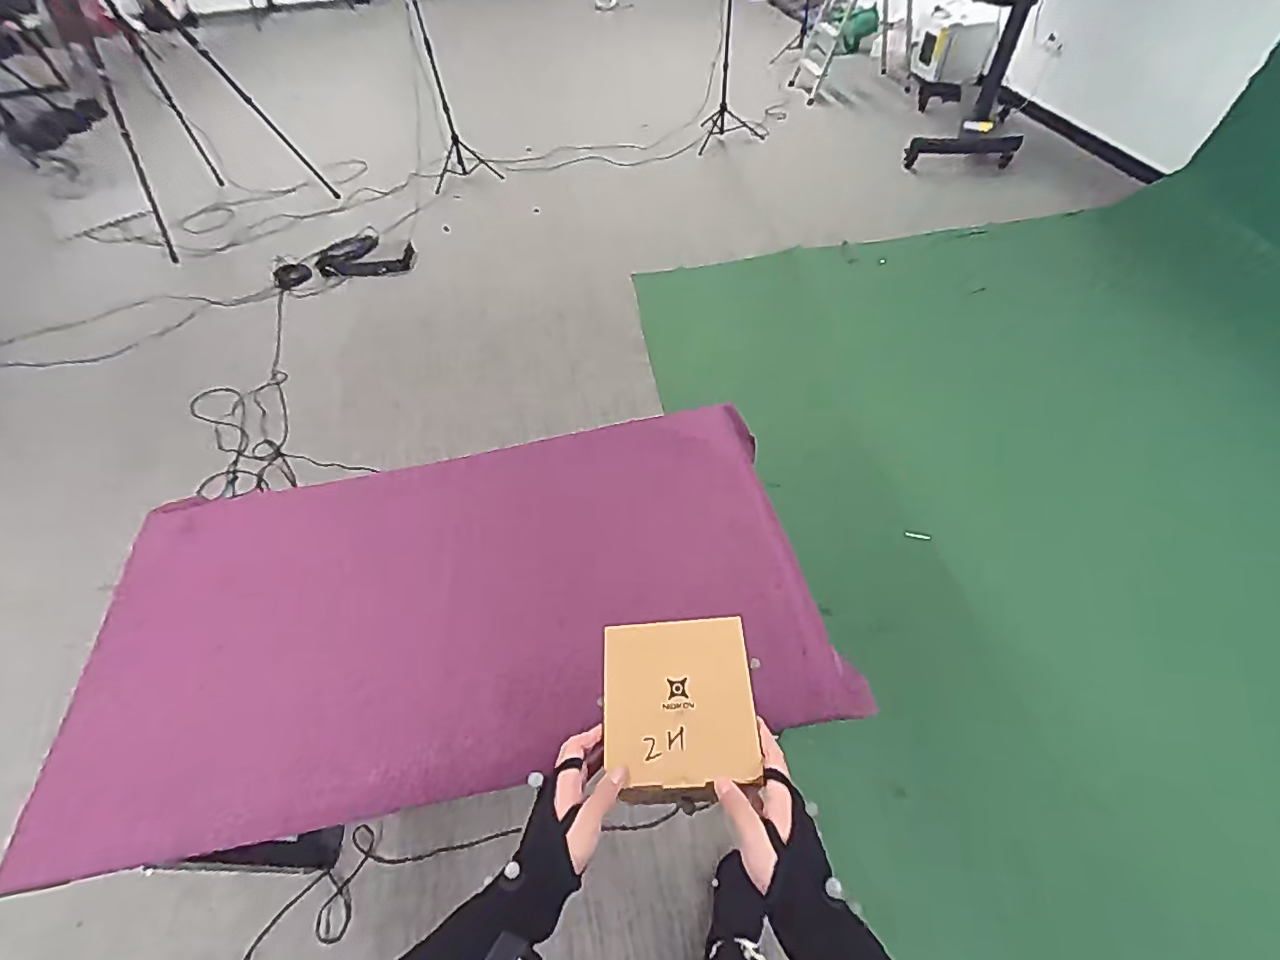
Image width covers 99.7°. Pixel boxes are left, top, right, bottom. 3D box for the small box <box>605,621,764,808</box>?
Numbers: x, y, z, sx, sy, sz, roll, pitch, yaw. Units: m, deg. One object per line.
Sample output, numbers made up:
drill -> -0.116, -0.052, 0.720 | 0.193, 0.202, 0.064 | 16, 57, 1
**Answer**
small box -> 0.052, 0.290, 0.663 | 0.168, 0.176, 0.179 | -5, 54, 5
